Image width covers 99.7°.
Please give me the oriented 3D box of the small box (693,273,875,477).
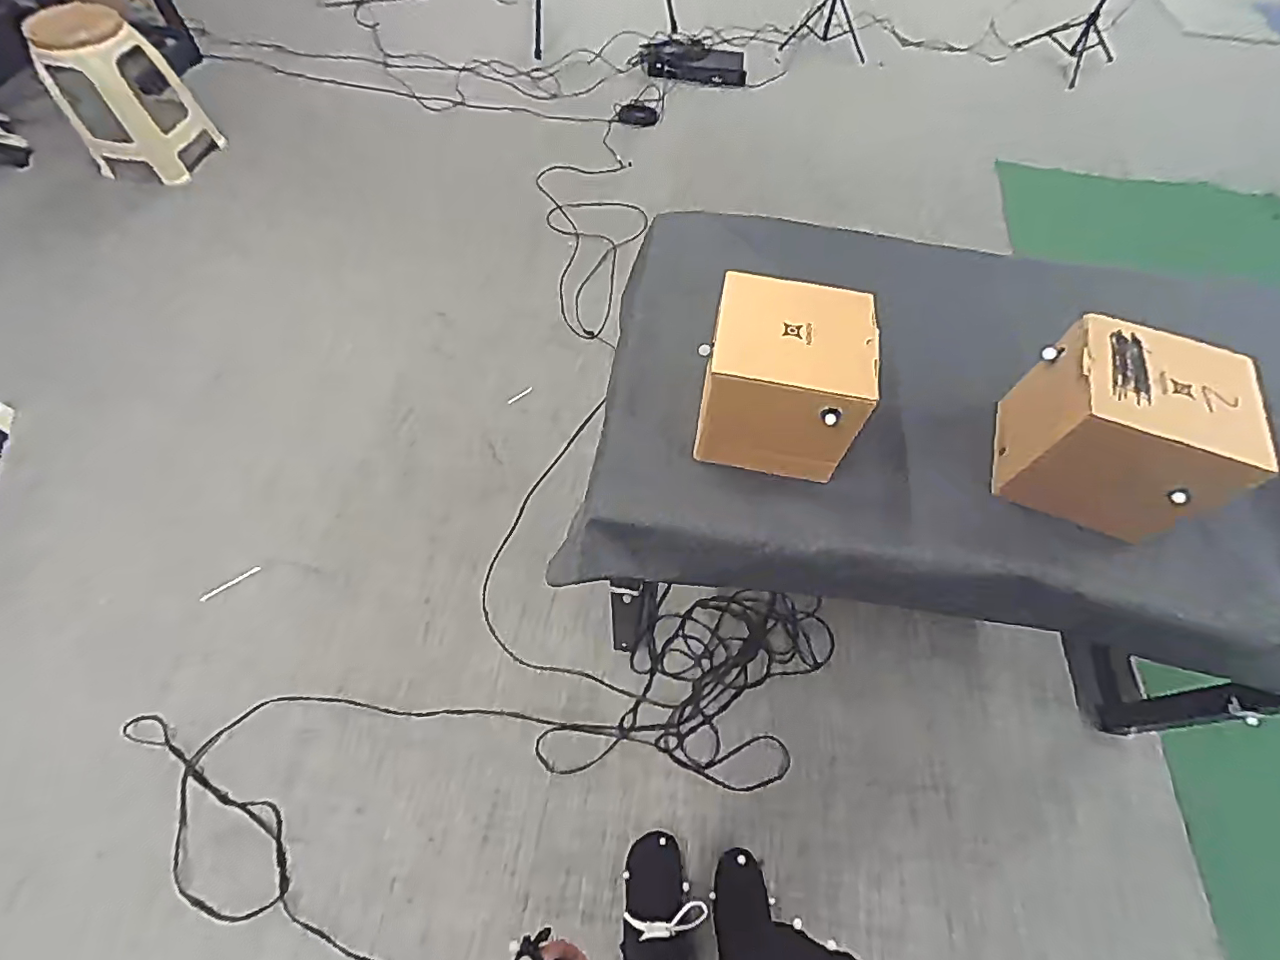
[{"bbox_3d":[0.166,-0.122,0.663,0.179,0.176,0.168,10,59,3],"label":"small box"}]
